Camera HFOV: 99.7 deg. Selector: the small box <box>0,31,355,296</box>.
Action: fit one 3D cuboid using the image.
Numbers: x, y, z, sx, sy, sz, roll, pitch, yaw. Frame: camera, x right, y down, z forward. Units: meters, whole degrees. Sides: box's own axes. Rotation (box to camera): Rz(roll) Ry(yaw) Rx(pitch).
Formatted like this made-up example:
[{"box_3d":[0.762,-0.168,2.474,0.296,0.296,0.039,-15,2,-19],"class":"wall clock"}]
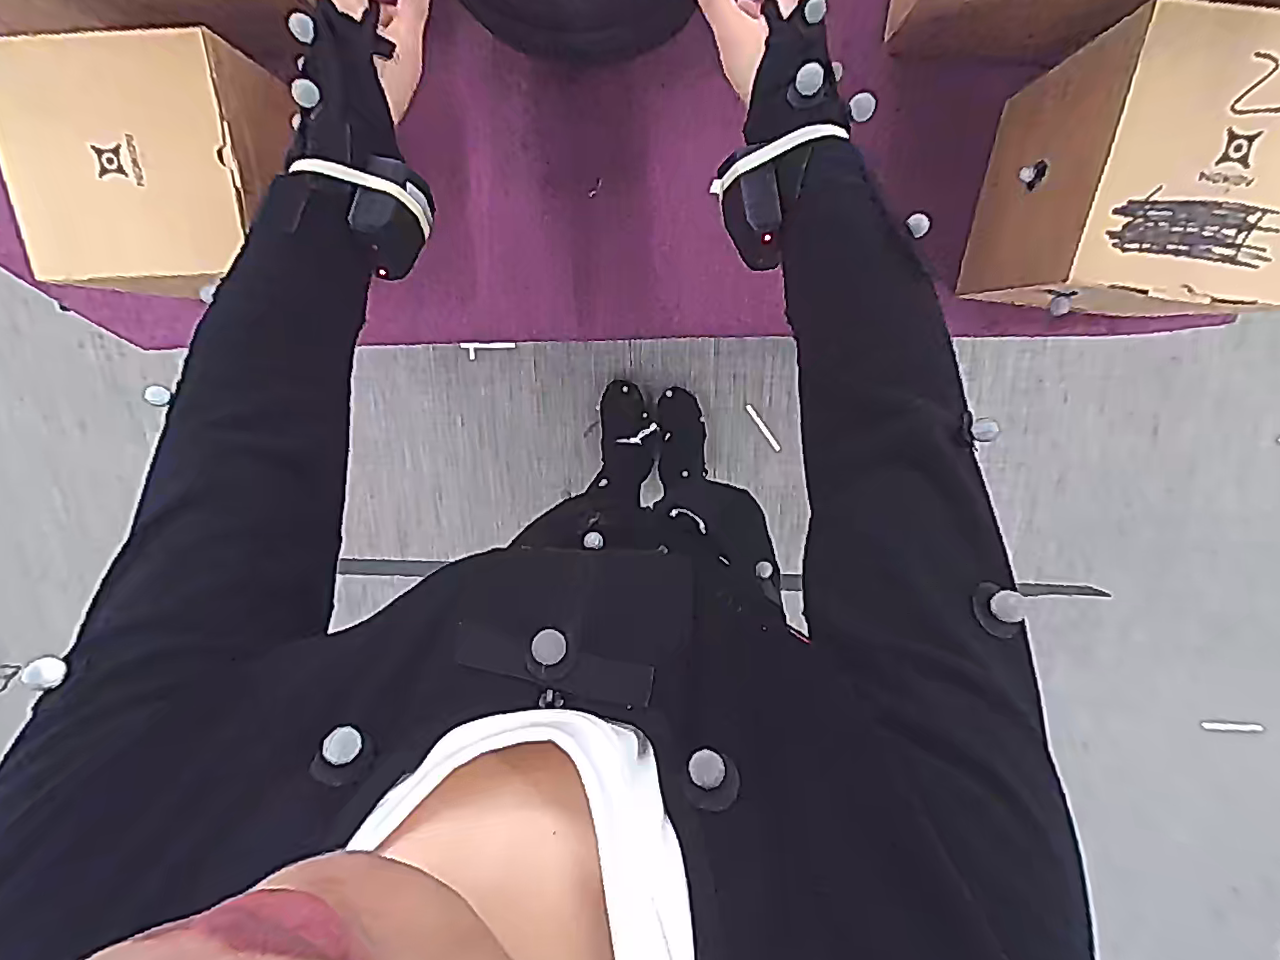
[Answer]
[{"box_3d":[-0.396,-0.262,0.489,0.179,0.176,0.168,-3,105,0],"class":"small box"}]
